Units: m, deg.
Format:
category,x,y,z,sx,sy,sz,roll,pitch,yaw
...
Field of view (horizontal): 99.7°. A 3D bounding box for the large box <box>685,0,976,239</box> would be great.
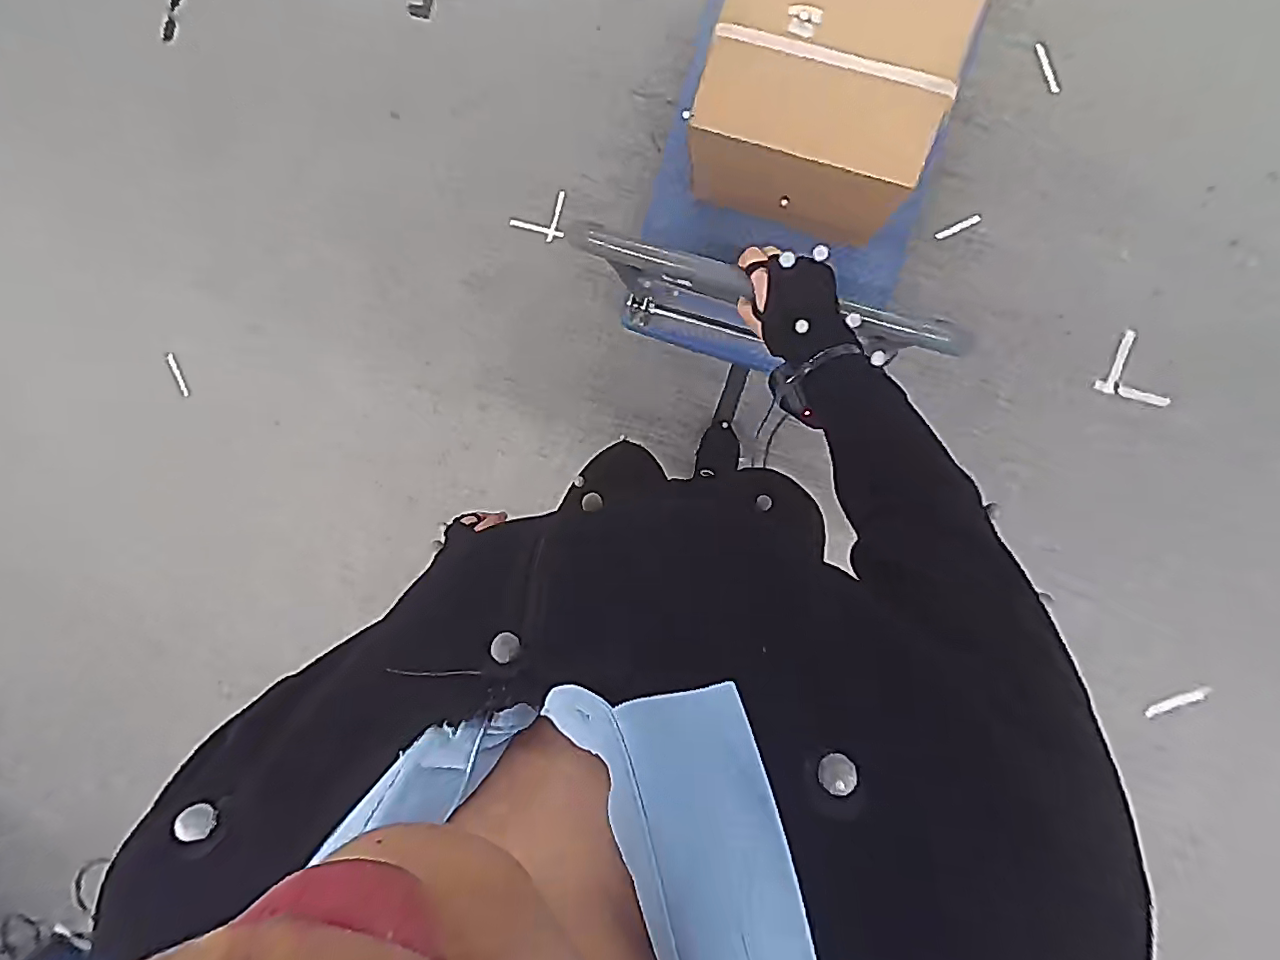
category,x,y,z,sx,sy,sz,roll,pitch,yaw
large box,0.331,-0.710,1.039,0.408,0.320,0.320,19,97,6
